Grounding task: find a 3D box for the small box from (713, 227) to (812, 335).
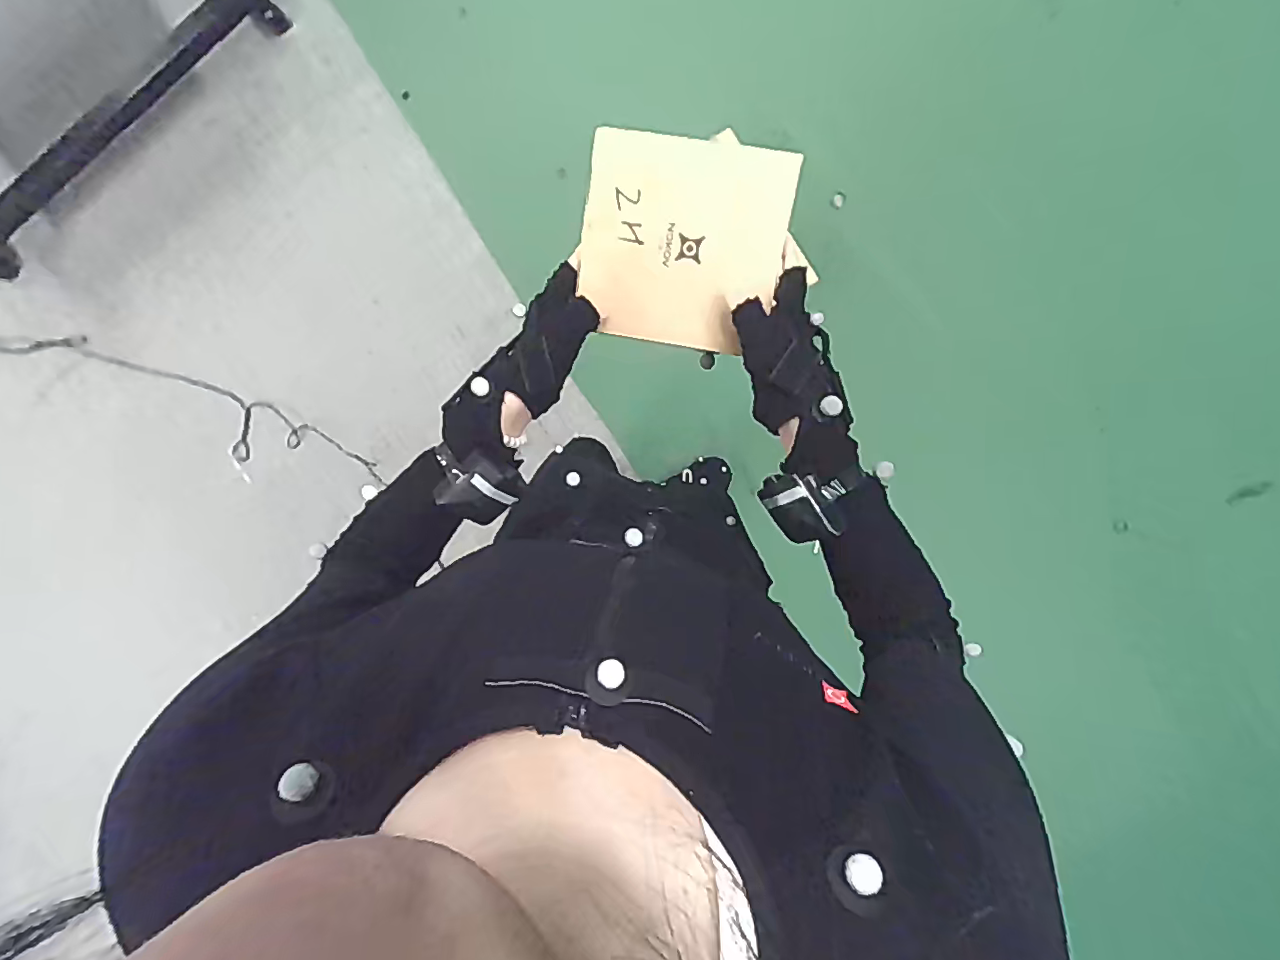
[{"bbox_3d":[0.295,-0.486,1.349,0.179,0.176,0.168,-33,92,8],"label":"small box"}]
